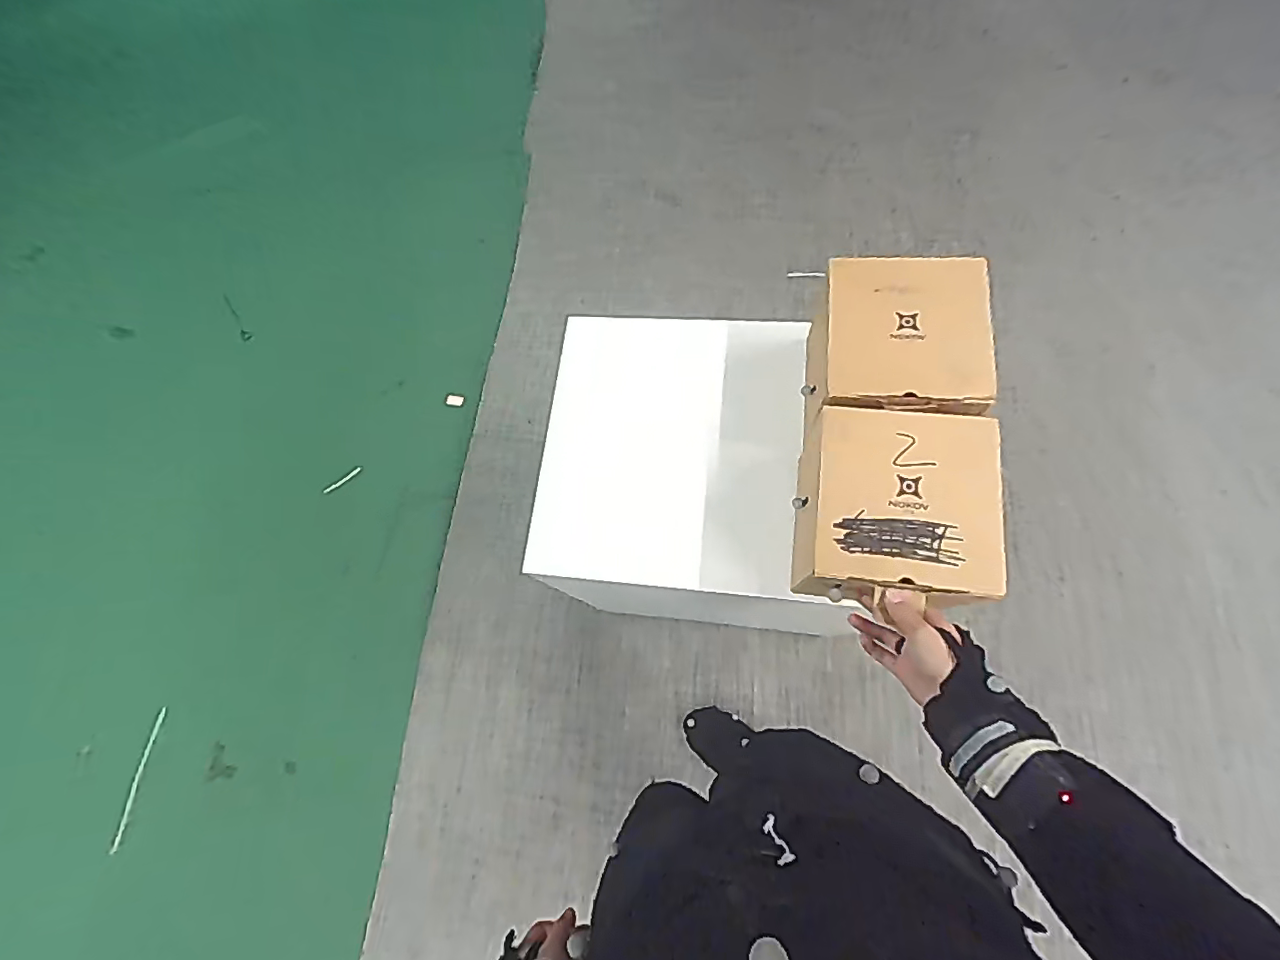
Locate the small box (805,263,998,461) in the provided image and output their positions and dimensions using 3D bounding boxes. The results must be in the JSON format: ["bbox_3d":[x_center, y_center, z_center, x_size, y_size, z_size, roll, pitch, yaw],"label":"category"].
[{"bbox_3d":[0.297,-0.133,0.648,0.168,0.176,0.179,4,71,9],"label":"small box"}]
